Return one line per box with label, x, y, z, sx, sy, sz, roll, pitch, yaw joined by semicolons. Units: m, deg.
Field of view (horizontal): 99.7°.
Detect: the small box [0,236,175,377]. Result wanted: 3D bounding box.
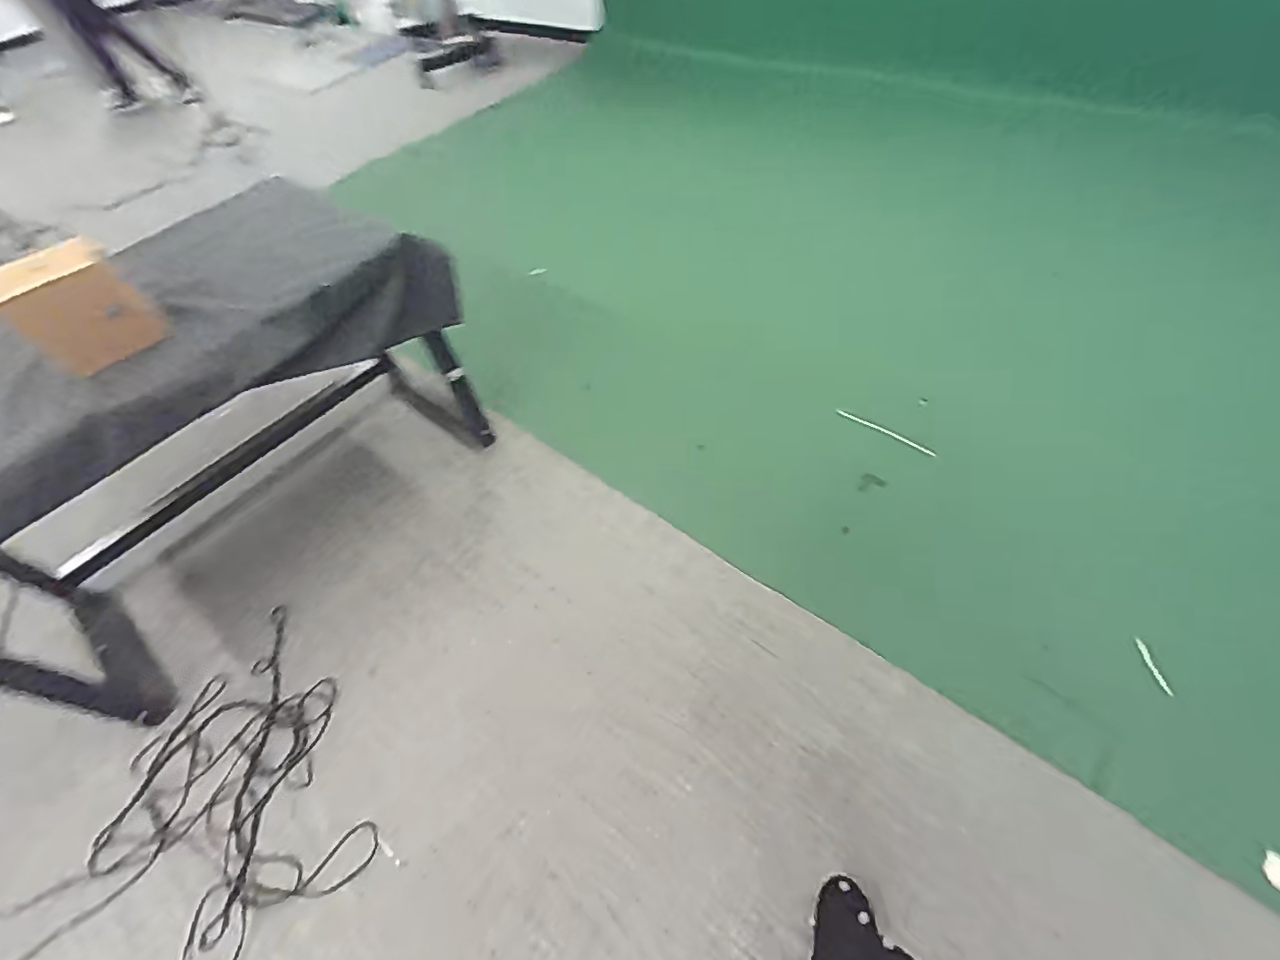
small box;-1.057;-0.335;1.050;0.179;0.176;0.168;-39;57;-19
